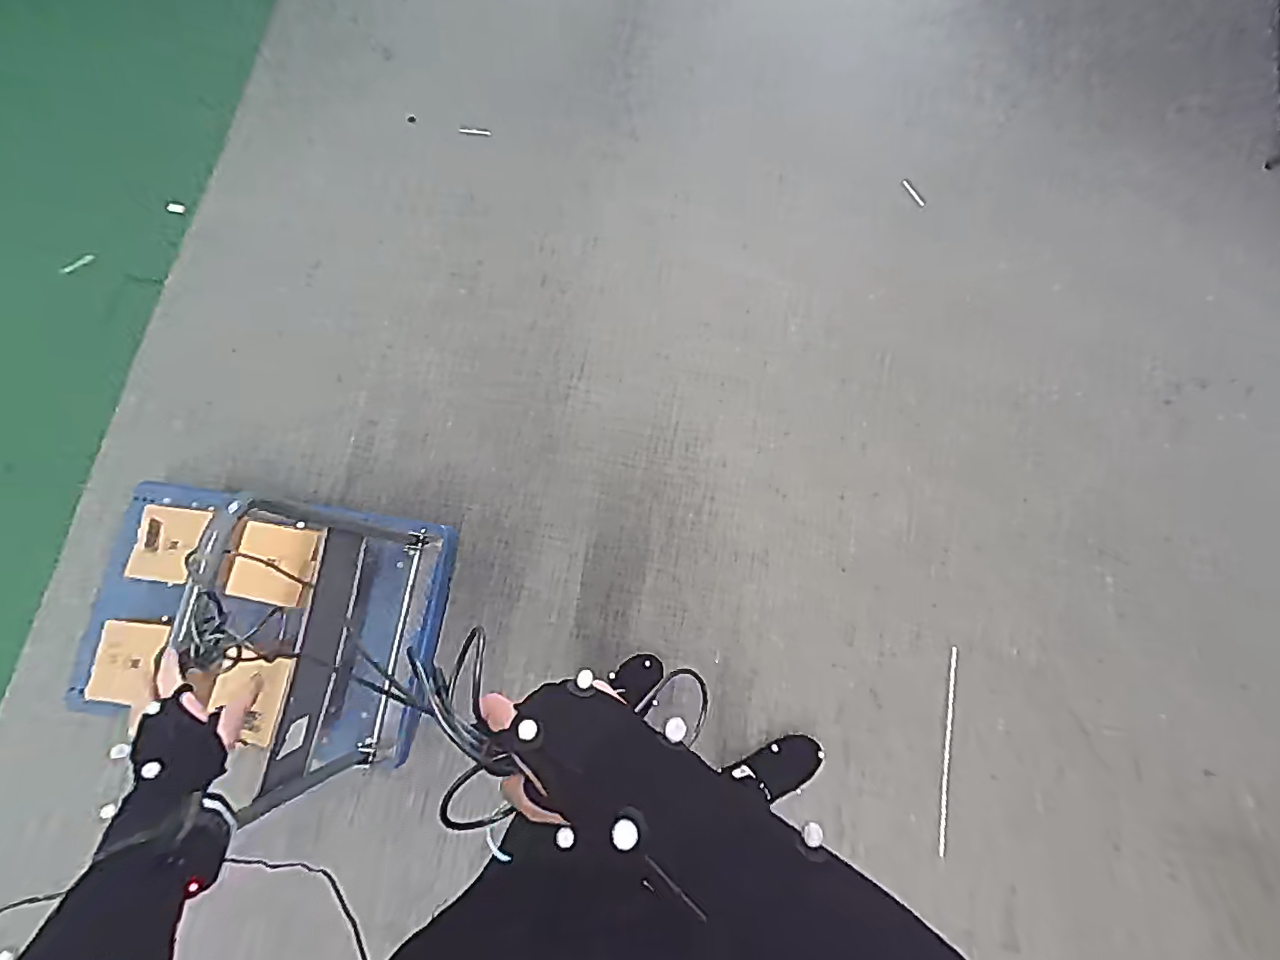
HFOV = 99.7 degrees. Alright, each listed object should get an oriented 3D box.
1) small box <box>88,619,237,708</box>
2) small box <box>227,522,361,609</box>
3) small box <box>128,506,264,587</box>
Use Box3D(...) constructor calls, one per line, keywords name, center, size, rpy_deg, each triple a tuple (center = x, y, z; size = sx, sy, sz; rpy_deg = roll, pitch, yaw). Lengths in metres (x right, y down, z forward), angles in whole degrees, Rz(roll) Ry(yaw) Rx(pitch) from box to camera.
Box3D(name="small box", center=(-1.079, 0.412, 1.240), size=(0.179, 0.176, 0.168), rpy_deg=(5, 78, 5))
Box3D(name="small box", center=(-0.799, 0.204, 1.265), size=(0.179, 0.176, 0.168), rpy_deg=(10, 79, 5))
Box3D(name="small box", center=(-1.041, 0.164, 1.289), size=(0.179, 0.176, 0.168), rpy_deg=(6, 79, 4))
